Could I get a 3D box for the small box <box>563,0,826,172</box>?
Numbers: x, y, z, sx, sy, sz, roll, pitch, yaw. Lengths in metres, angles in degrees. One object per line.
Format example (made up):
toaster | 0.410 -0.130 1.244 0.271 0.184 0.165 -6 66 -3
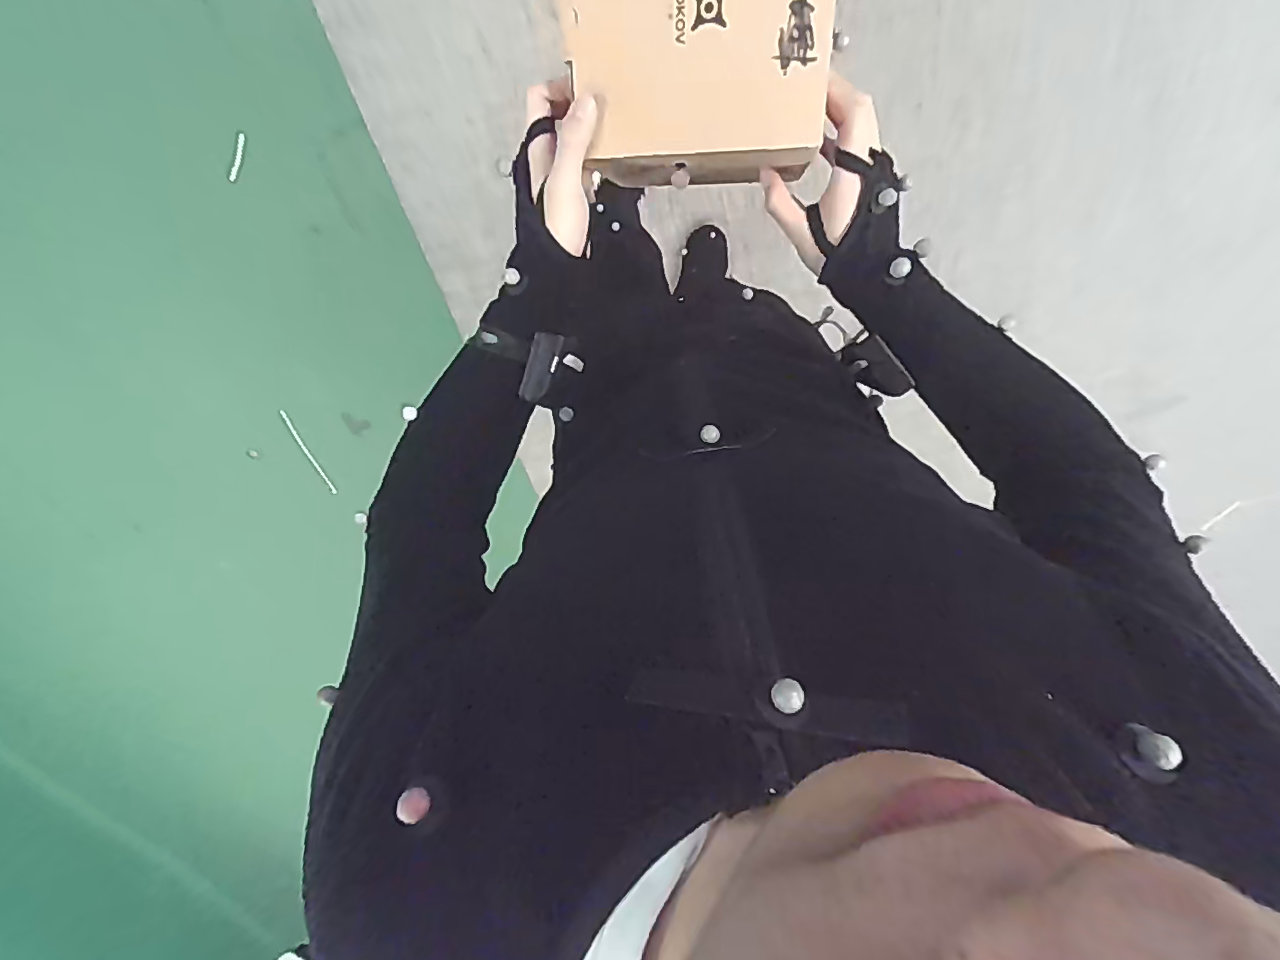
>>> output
small box | 0.049 -0.346 0.421 0.179 0.176 0.168 4 113 11
